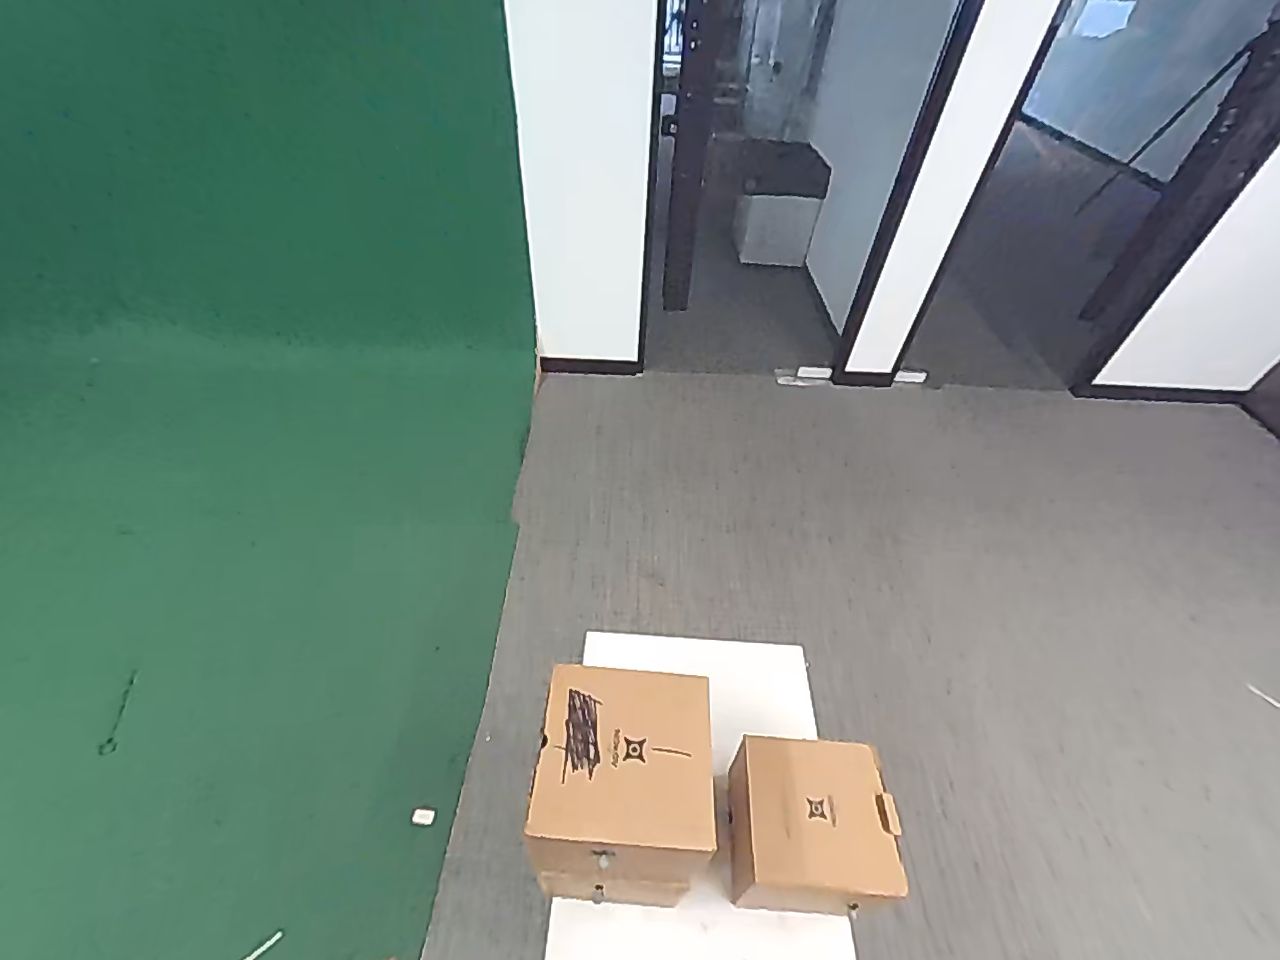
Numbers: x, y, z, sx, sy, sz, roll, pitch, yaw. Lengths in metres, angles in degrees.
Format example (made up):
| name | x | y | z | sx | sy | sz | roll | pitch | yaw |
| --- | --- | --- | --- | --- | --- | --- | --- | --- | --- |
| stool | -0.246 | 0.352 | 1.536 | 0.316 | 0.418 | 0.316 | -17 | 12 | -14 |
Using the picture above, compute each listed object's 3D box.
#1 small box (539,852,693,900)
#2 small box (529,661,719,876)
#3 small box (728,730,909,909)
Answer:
| name | x | y | z | sx | sy | sz | roll | pitch | yaw |
| --- | --- | --- | --- | --- | --- | --- | --- | --- | --- |
| small box | -0.026 | 0.438 | 0.713 | 0.179 | 0.176 | 0.168 | 4 | 46 | 0 |
| small box | -0.016 | 0.321 | 0.598 | 0.179 | 0.176 | 0.168 | 6 | 46 | -2 |
| small box | 0.219 | 0.454 | 0.719 | 0.179 | 0.176 | 0.168 | 3 | 45 | 2 |
